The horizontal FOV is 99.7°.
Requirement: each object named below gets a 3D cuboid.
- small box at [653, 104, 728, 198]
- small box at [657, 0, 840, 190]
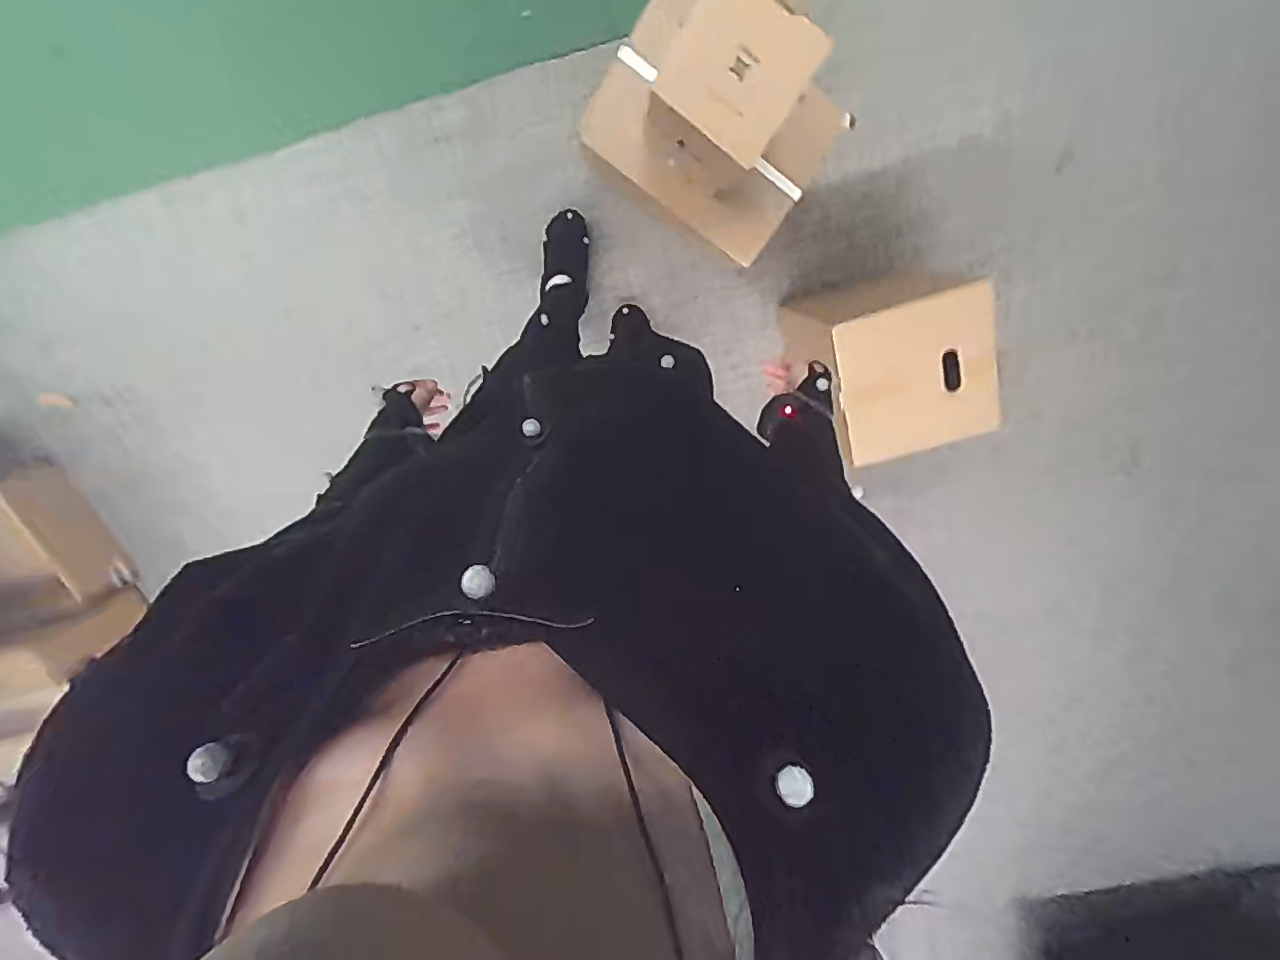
[{"bbox_3d":[0.131,-0.605,0.901,0.168,0.176,0.179,37,106,-13],"label":"small box"},{"bbox_3d":[0.133,-0.541,0.751,0.168,0.176,0.179,34,107,-12],"label":"small box"}]
